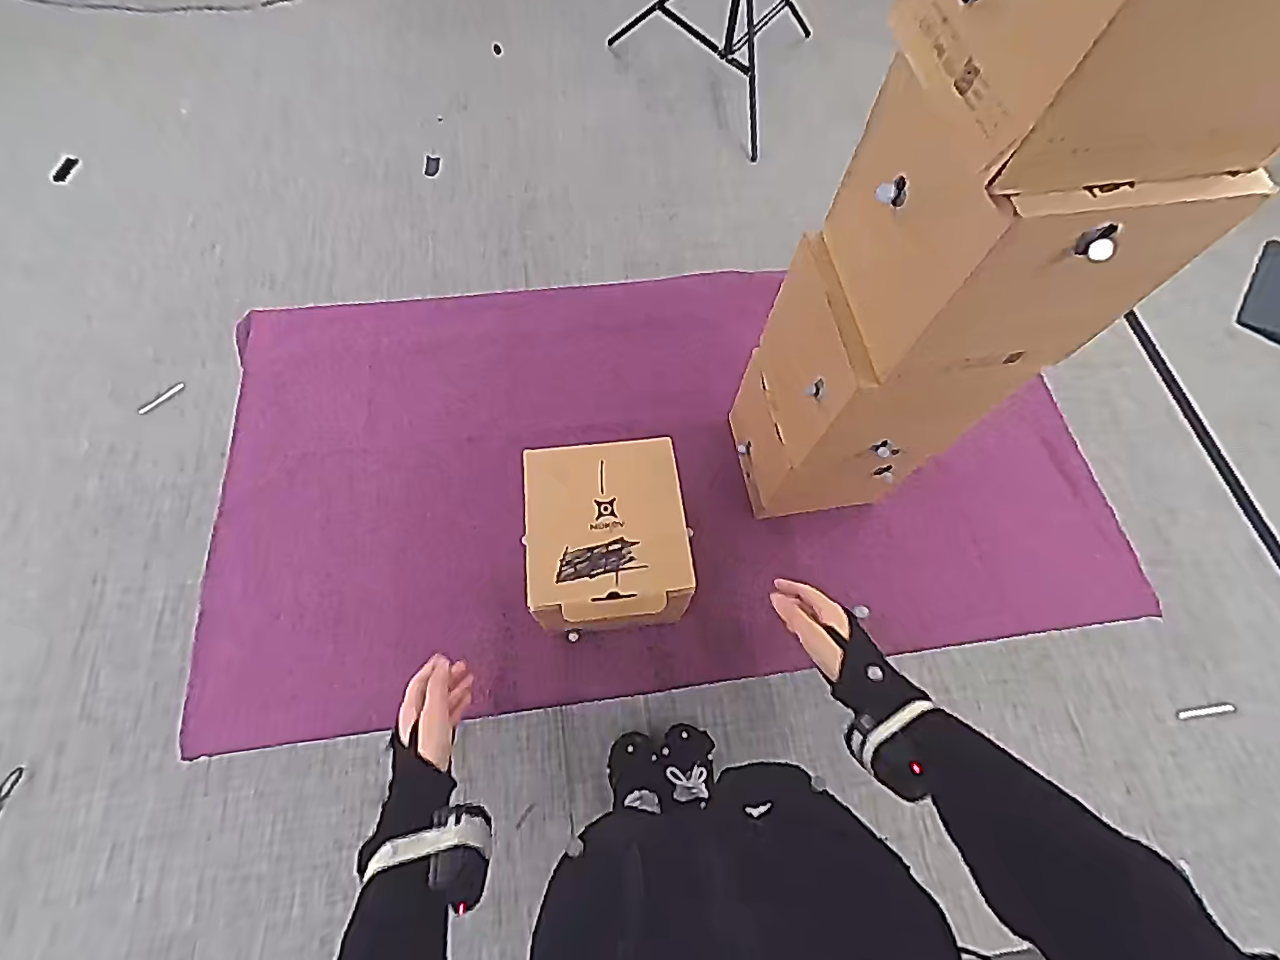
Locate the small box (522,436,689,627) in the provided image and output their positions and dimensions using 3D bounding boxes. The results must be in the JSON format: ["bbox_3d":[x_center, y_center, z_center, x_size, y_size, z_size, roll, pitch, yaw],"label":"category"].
[{"bbox_3d":[-0.041,0.070,0.635,0.168,0.176,0.179,-5,65,-4],"label":"small box"}]

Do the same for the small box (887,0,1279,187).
[{"bbox_3d":[0.258,-0.273,0.260,0.179,0.176,0.168,-9,68,-6],"label":"small box"}]

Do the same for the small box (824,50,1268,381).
[{"bbox_3d":[0.261,-0.199,0.405,0.168,0.176,0.179,-8,67,-5],"label":"small box"}]

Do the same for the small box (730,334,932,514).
[{"bbox_3d":[0.230,-0.067,0.704,0.179,0.176,0.168,-8,67,-5],"label":"small box"}]
